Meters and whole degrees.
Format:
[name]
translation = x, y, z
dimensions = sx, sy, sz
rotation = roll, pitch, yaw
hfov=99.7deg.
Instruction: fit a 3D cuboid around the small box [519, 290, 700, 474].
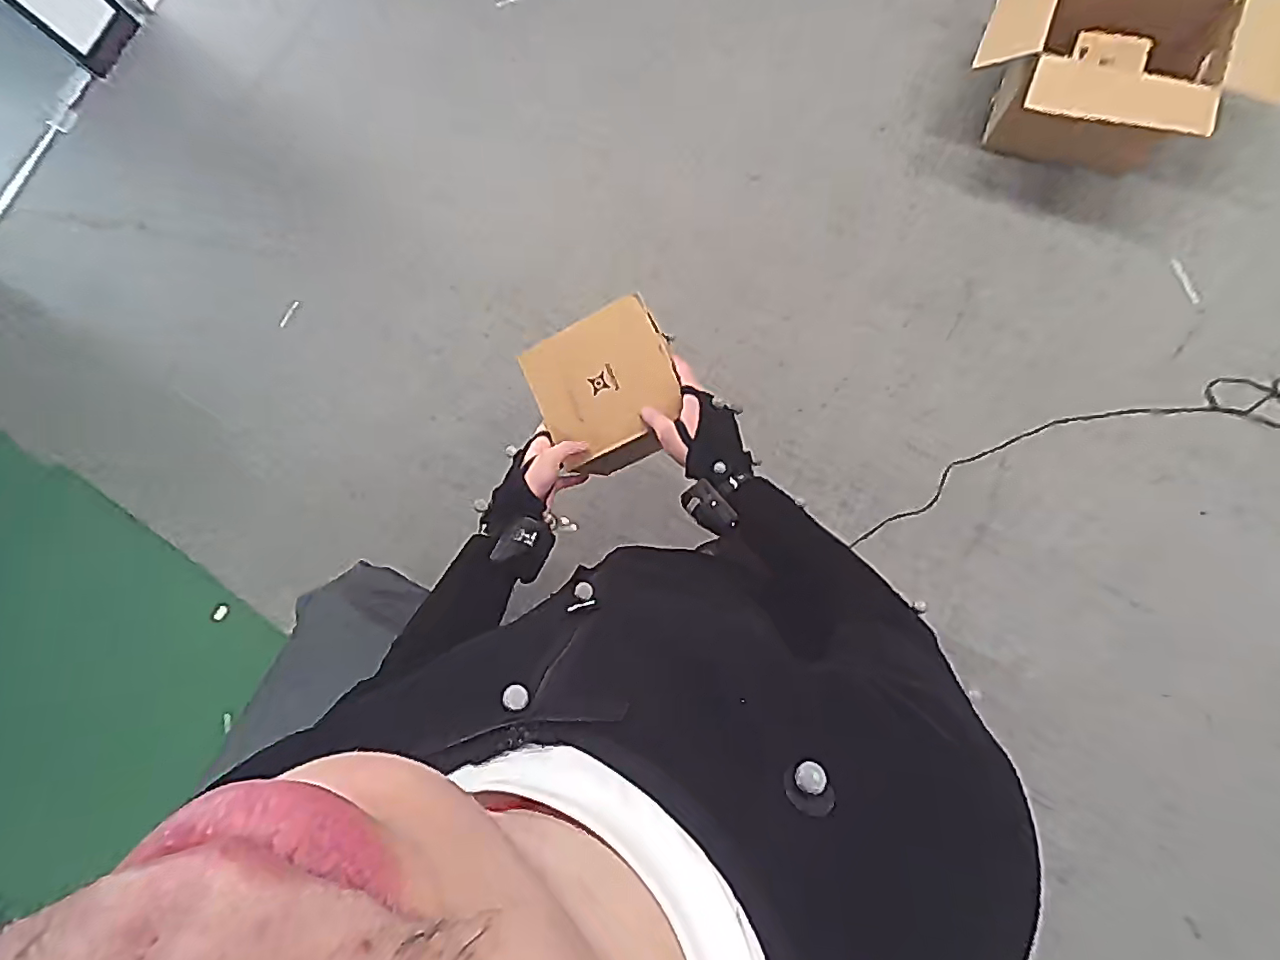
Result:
[small box]
translation = -0.028, -0.117, 0.724
dimensions = 0.179, 0.176, 0.168
rotation = -23, 81, 11
